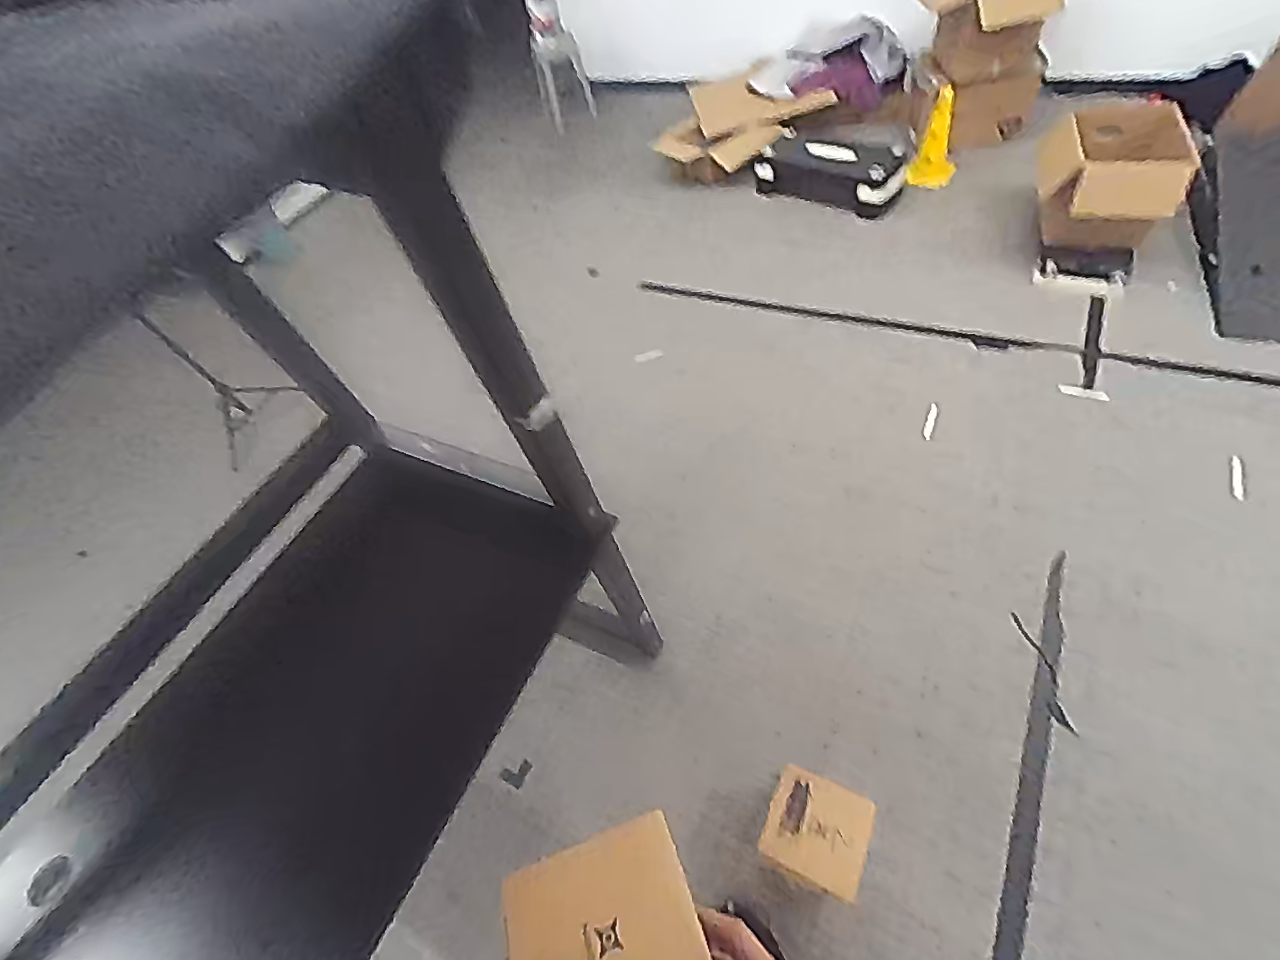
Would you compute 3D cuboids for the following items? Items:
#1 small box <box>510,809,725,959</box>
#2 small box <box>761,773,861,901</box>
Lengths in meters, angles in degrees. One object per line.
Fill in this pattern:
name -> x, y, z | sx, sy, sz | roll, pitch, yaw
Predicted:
small box -> -0.011, 0.471, 0.537 | 0.179, 0.176, 0.168 | -19, 40, -7
small box -> 0.367, 0.775, 1.183 | 0.168, 0.176, 0.179 | 16, 61, 22
